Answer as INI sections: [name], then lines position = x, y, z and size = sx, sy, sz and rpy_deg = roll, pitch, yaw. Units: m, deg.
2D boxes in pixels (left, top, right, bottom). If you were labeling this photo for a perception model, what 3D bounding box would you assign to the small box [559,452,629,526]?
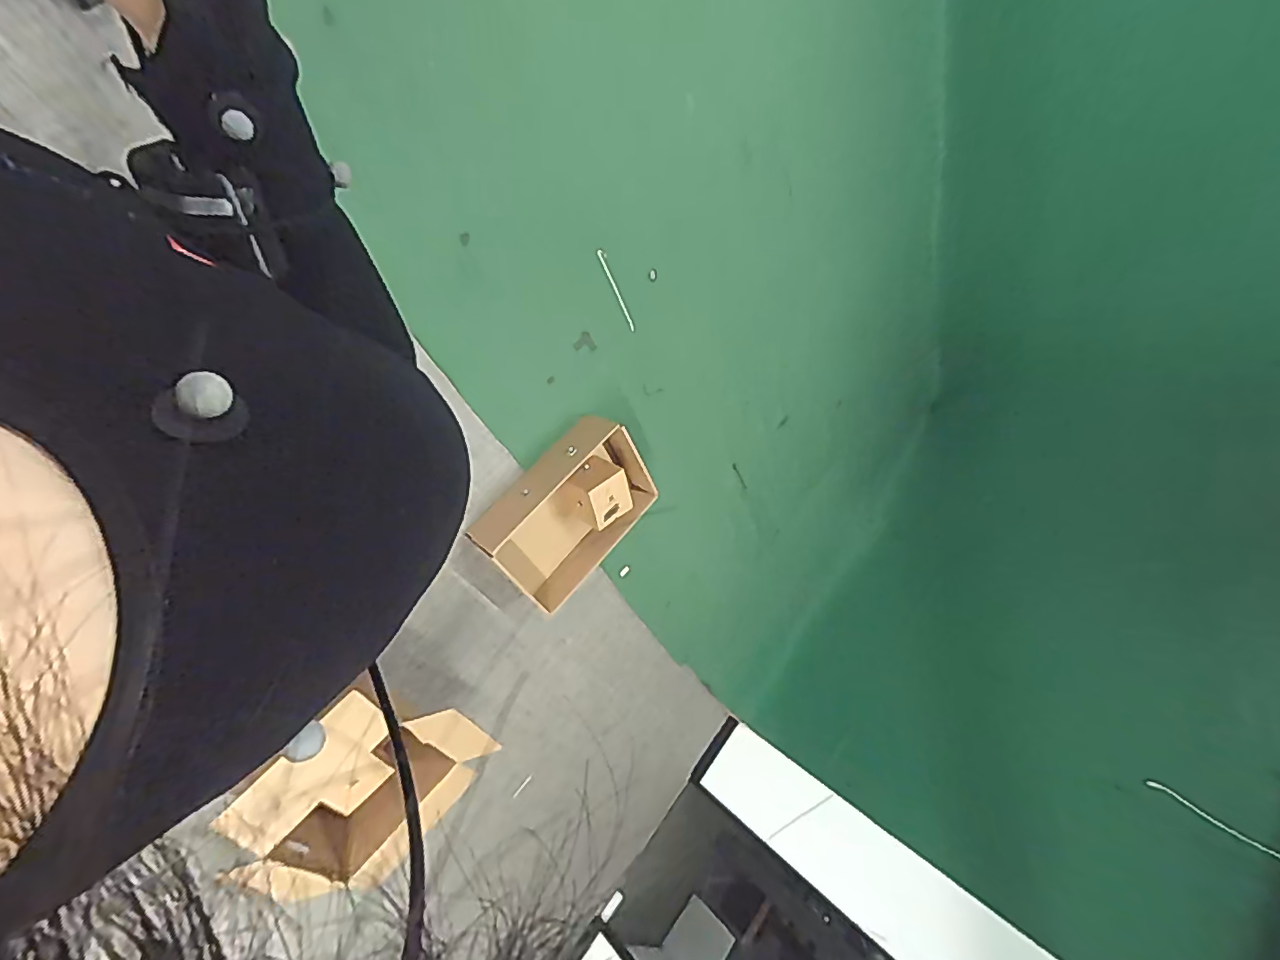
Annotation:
[small box]
position = -0.165, 0.027, 1.932
size = 0.168, 0.176, 0.179
rpy_deg = -35, 131, -29
